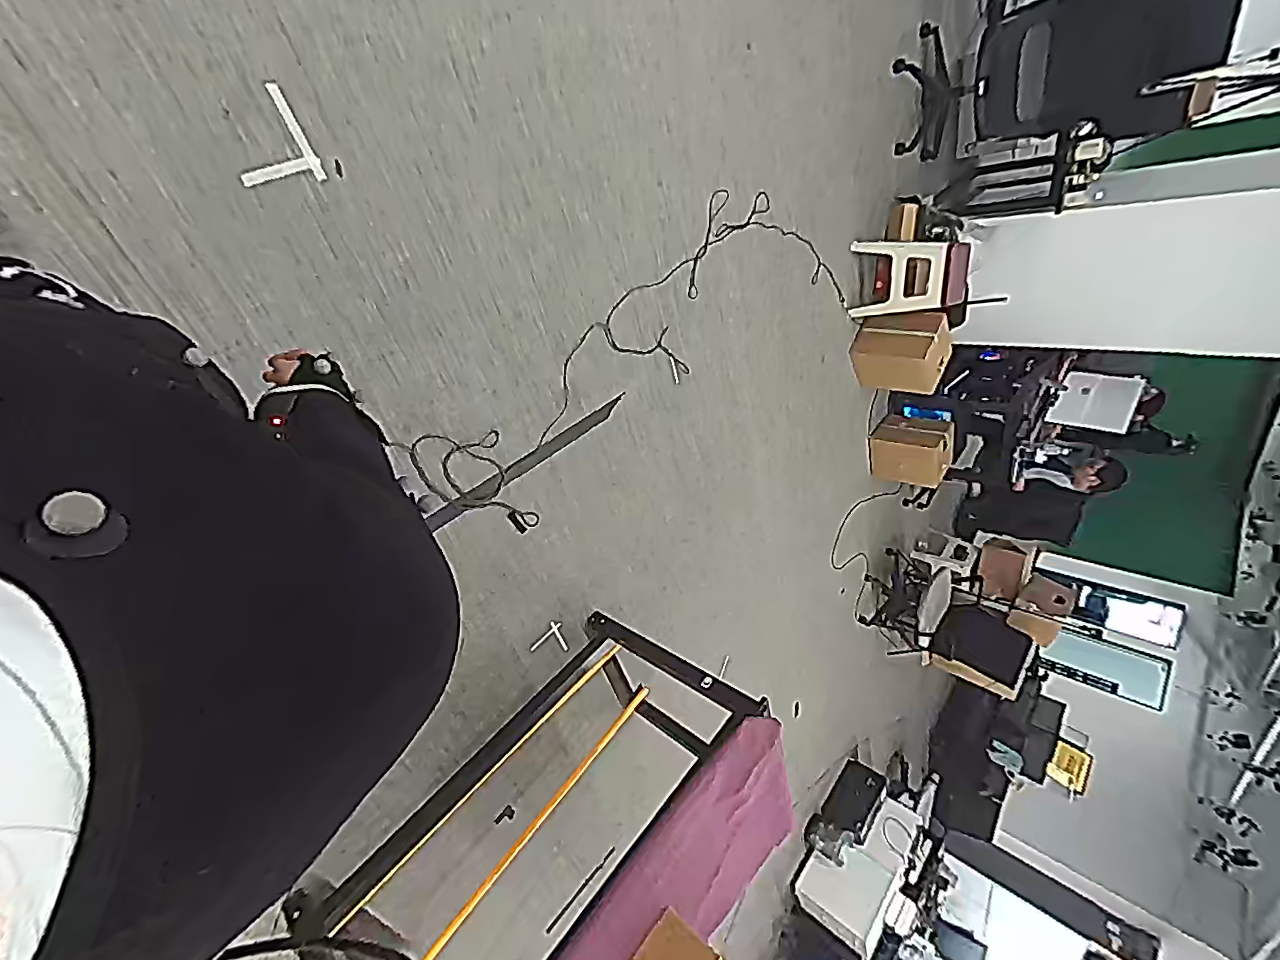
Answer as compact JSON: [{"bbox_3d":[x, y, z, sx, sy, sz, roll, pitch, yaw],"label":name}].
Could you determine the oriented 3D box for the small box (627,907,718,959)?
[{"bbox_3d":[0.082,1.207,1.322,0.179,0.176,0.168,-39,128,-32],"label":"small box"}]
